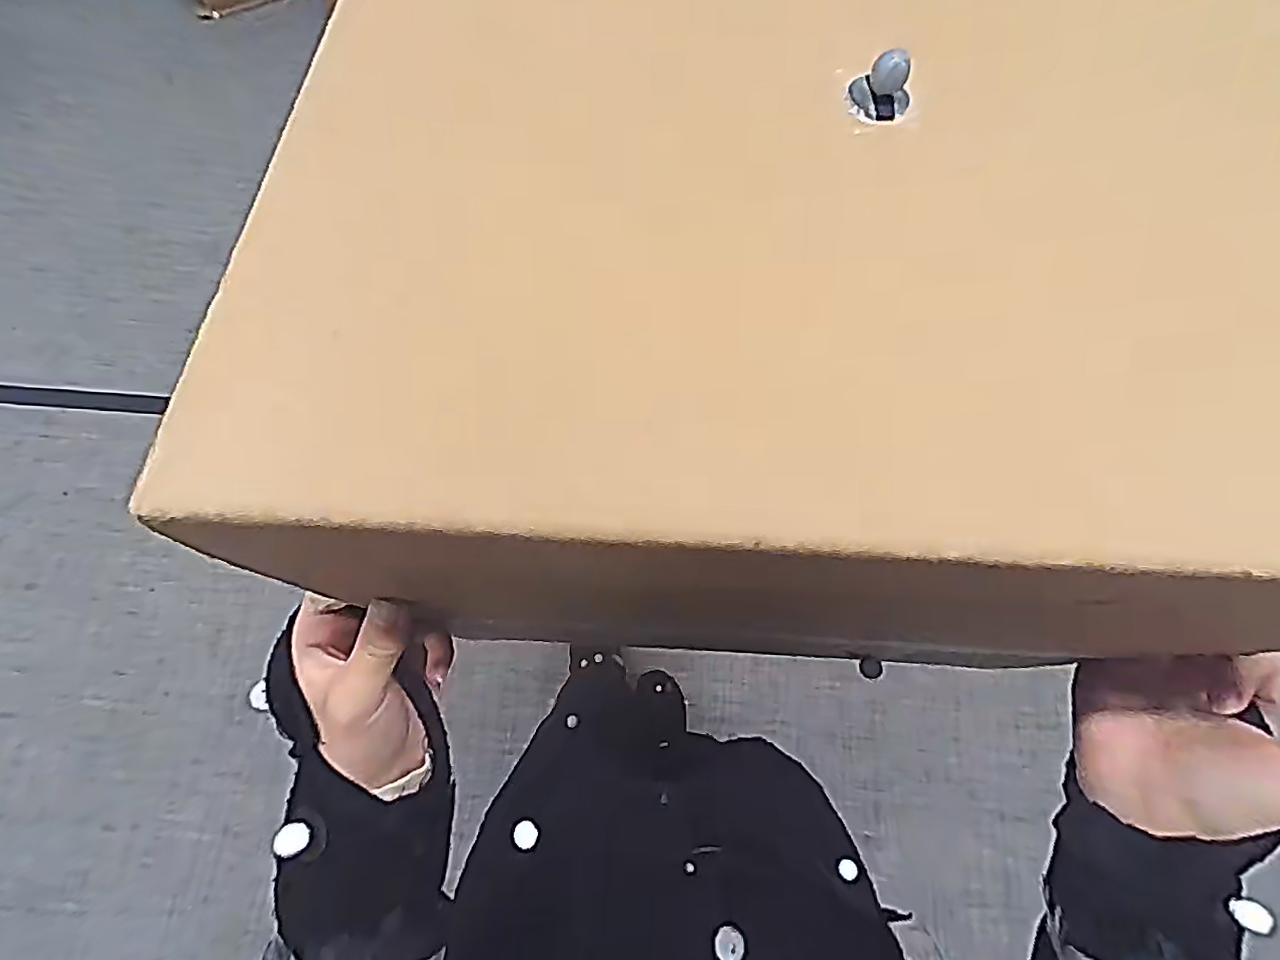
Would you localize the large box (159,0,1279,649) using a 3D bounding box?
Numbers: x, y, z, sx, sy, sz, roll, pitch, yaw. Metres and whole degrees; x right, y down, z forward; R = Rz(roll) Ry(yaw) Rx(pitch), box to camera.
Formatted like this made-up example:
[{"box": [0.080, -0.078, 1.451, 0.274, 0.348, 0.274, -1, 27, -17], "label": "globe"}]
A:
[{"box": [0.072, -0.078, 0.331, 0.408, 0.320, 0.320, 3, 69, -1], "label": "large box"}]
